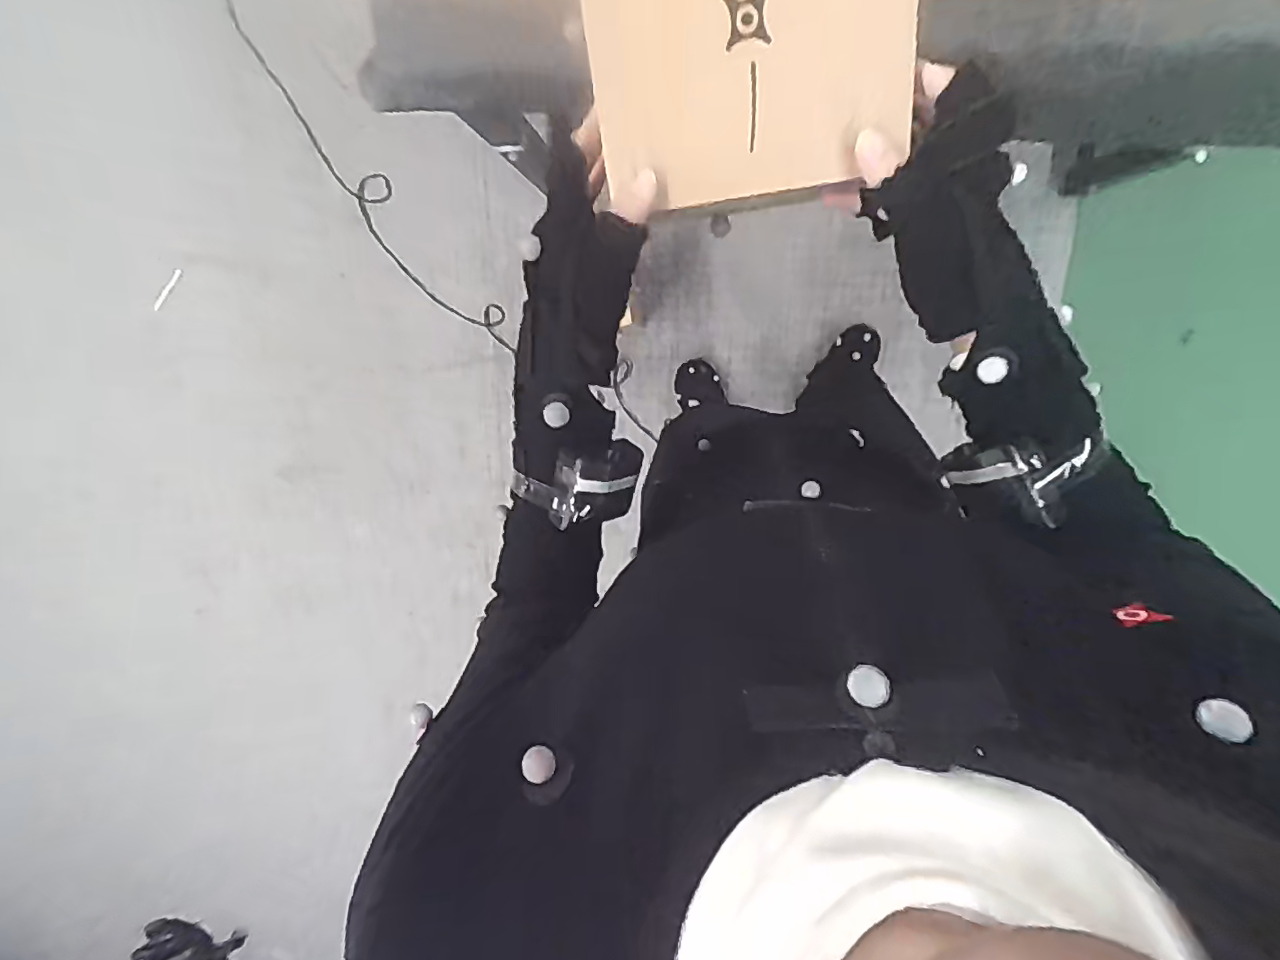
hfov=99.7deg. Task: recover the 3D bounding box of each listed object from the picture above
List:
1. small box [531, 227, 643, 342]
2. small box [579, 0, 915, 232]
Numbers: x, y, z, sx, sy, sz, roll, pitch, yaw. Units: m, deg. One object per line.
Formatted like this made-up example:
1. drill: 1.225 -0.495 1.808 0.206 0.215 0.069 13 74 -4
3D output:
1. small box: -0.098 -0.392 1.102 0.168 0.176 0.179 -13 104 11
2. small box: 0.052 -0.268 0.338 0.168 0.176 0.179 -8 111 5
